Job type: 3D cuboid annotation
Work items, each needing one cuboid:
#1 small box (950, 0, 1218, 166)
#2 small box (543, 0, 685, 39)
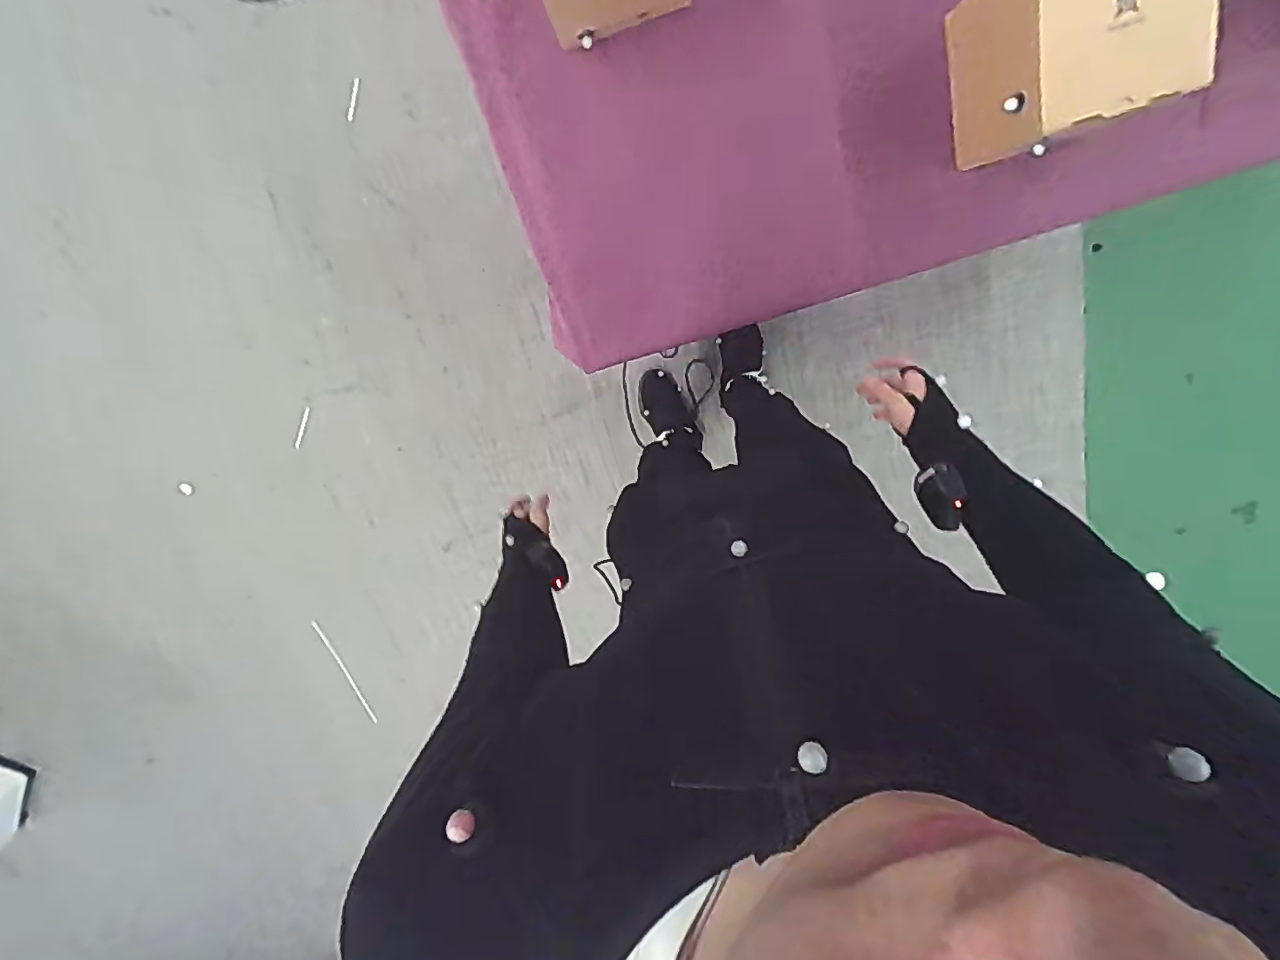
[{"bbox_3d":[0.467,-0.478,0.594,0.168,0.176,0.179,-15,108,6],"label":"small box"},{"bbox_3d":[-0.041,-0.600,0.559,0.168,0.176,0.179,-15,110,6],"label":"small box"}]
